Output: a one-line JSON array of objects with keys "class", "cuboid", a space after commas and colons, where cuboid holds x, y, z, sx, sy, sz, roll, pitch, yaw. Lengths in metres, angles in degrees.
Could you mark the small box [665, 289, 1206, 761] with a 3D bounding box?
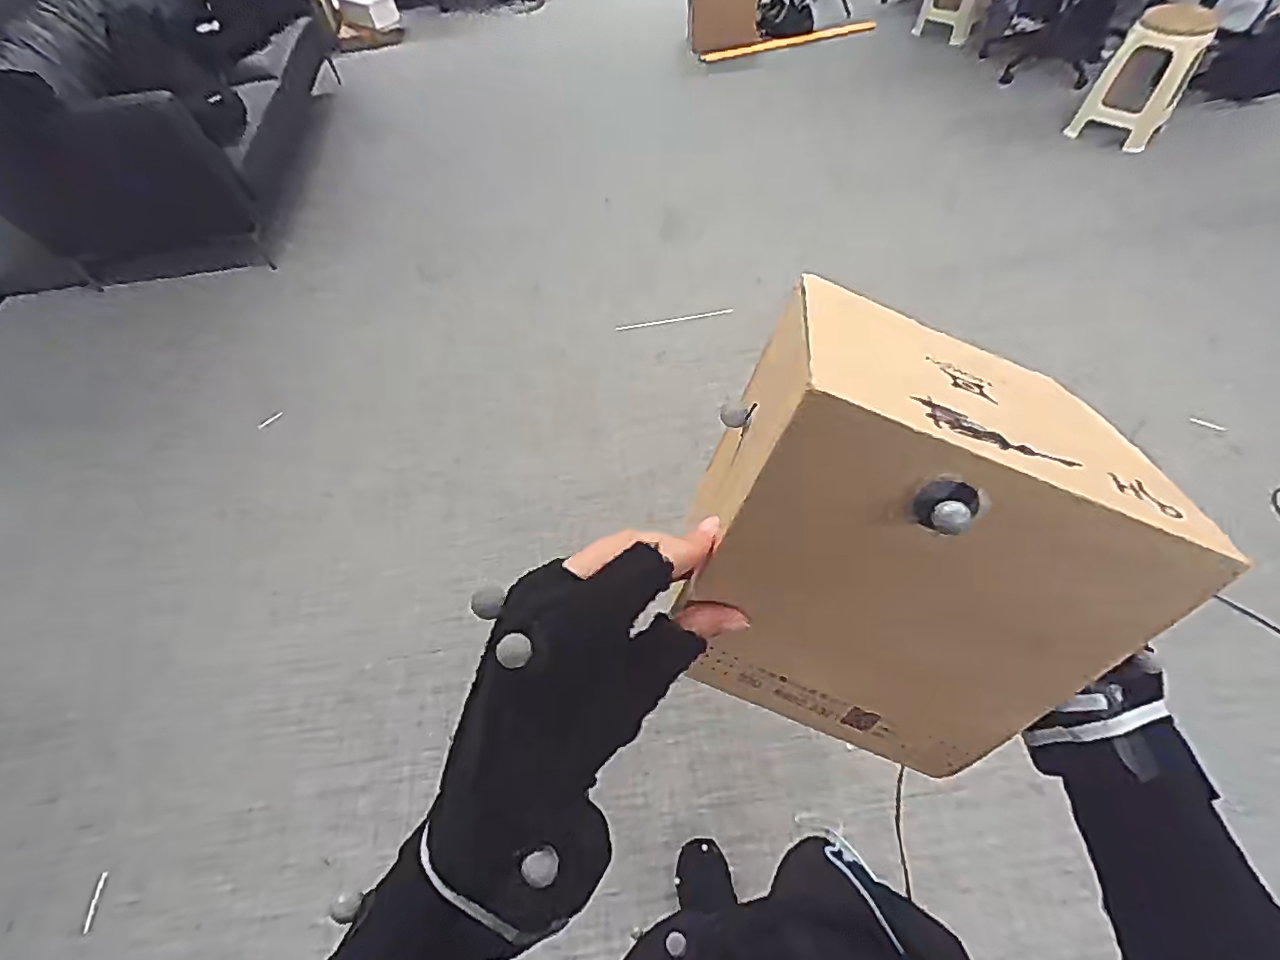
[{"class": "small box", "cuboid": [0.126, 0.017, 0.312, 0.168, 0.176, 0.179, 22, 34, 0]}]
